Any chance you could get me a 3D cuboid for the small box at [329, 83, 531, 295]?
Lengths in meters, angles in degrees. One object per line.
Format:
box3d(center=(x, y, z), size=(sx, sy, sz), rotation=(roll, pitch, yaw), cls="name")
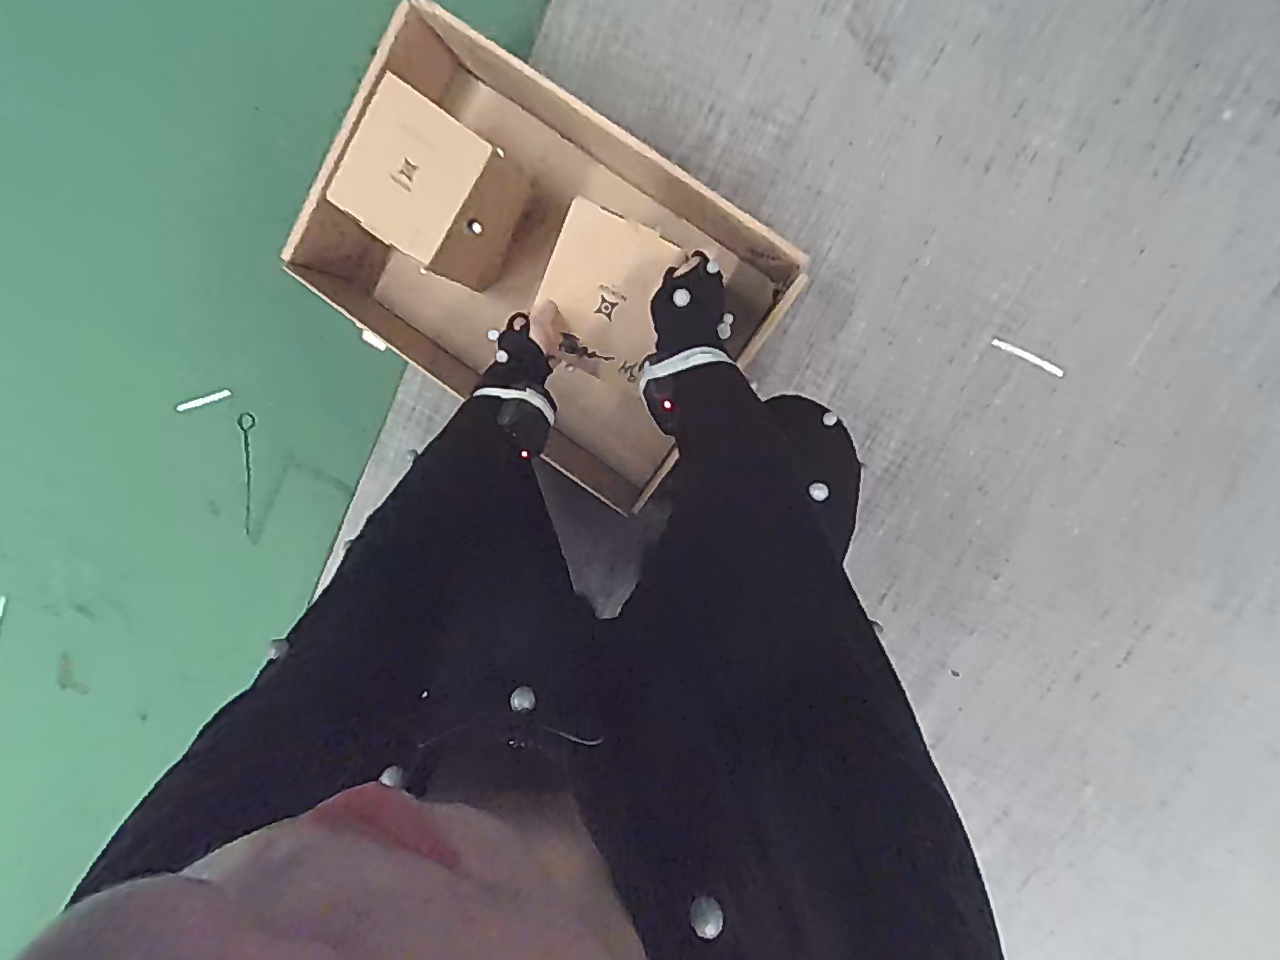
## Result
box3d(center=(-0.279, -0.386, 0.758), size=(0.168, 0.176, 0.179), rotation=(37, 102, 1), cls="small box")
